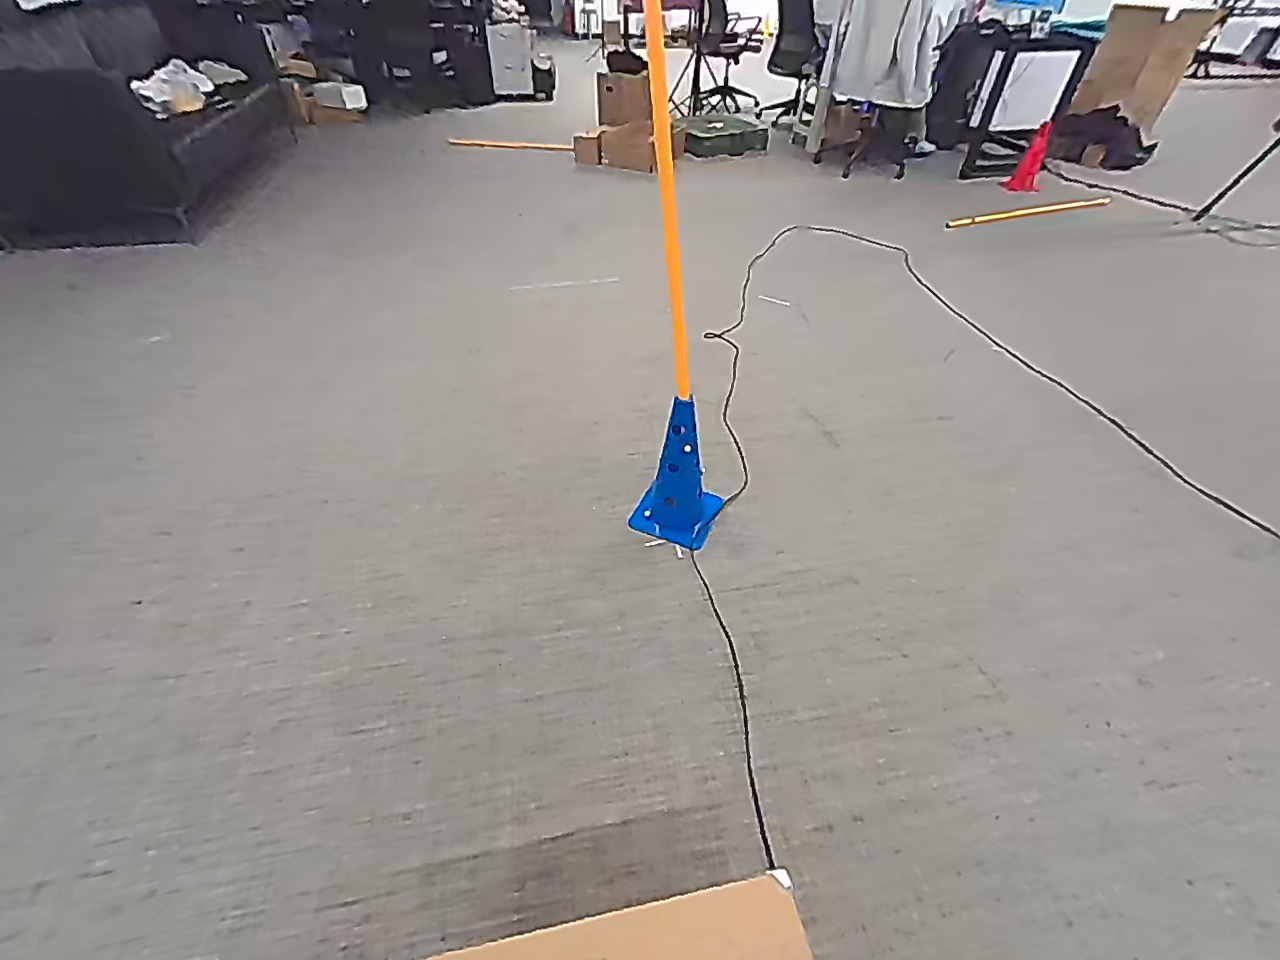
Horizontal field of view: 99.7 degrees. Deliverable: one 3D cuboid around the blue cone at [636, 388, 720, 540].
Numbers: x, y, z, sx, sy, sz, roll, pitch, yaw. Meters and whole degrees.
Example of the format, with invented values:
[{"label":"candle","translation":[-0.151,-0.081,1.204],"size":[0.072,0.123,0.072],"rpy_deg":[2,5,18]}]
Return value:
[{"label":"blue cone","translation":[0.098,-0.047,1.268],"size":[0.192,0.380,0.193],"rpy_deg":[15,46,16]}]
